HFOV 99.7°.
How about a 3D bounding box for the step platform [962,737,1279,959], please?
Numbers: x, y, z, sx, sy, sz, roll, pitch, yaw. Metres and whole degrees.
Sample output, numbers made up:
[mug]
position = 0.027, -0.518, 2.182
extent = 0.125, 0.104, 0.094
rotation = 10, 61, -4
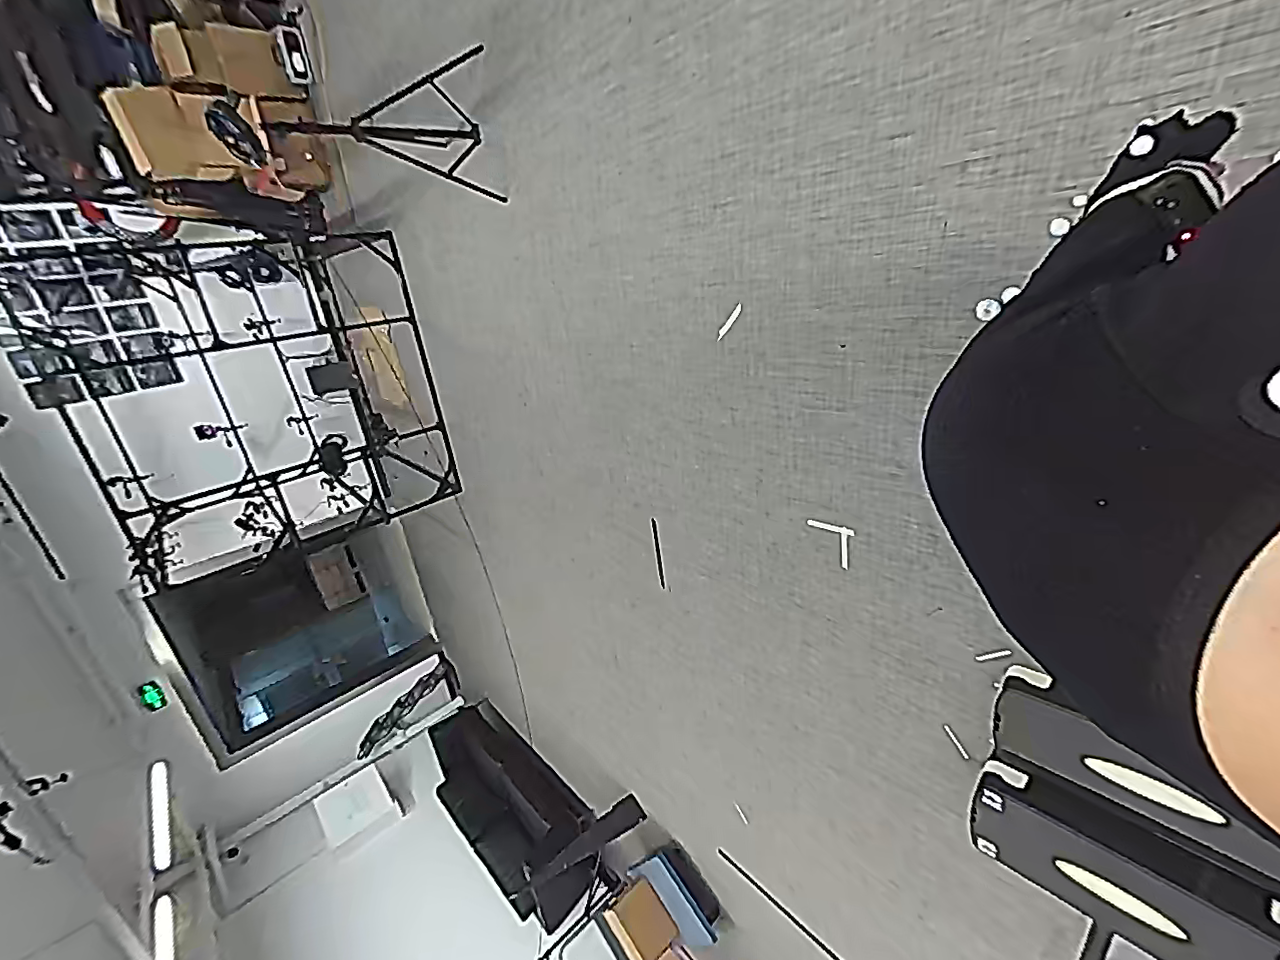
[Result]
[step platform]
position = 1.241, 0.997, 1.421
extent = 0.684, 0.204, 0.286
rotation = 16, 122, 48
